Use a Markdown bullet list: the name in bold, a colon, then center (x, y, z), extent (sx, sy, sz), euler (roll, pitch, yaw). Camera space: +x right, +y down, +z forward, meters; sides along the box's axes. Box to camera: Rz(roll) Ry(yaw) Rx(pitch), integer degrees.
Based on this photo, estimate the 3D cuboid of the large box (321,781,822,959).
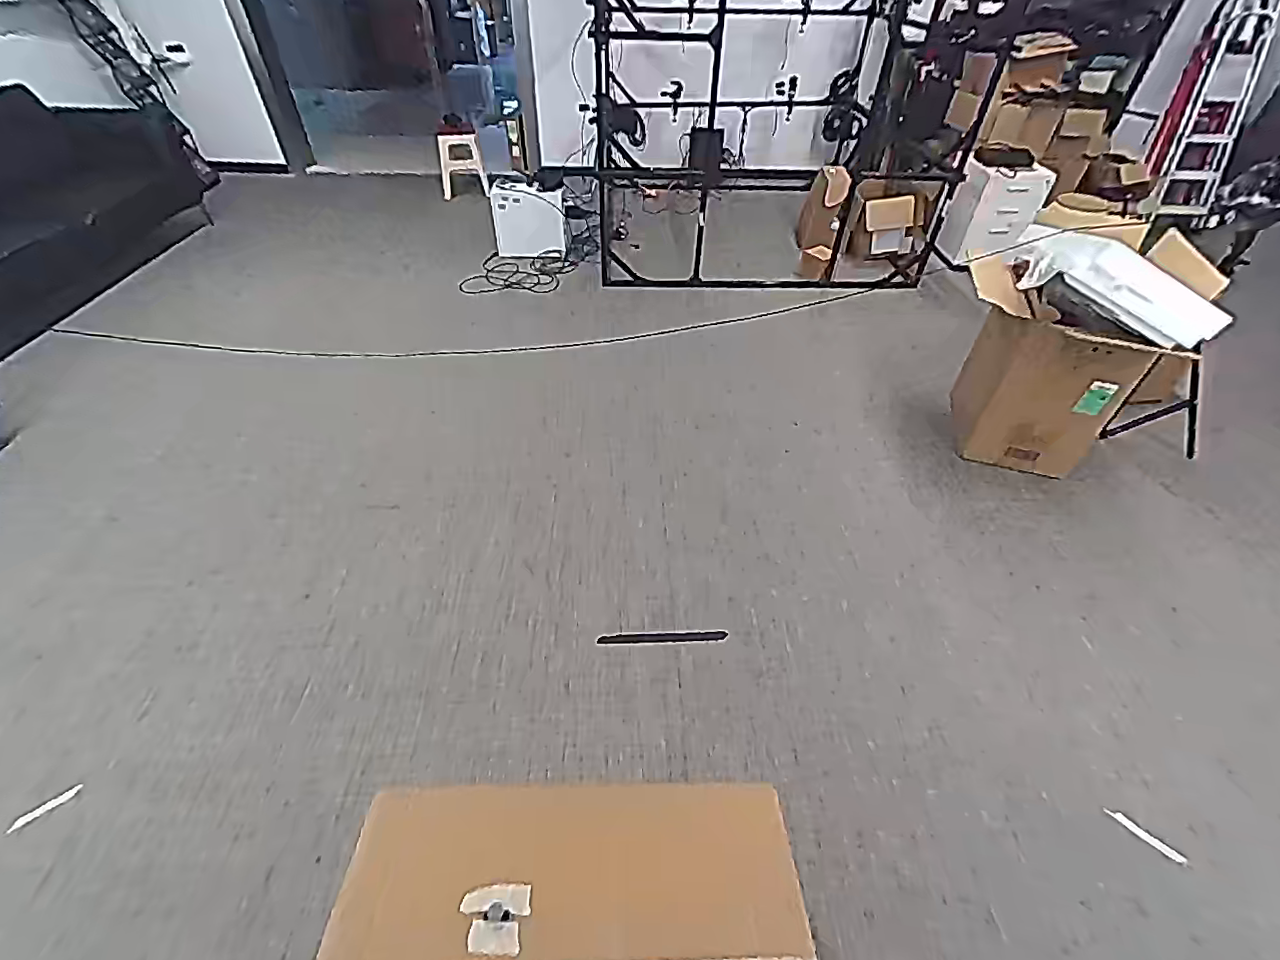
- **large box**: center (-0.055, 0.512, 0.496), extent (0.408, 0.320, 0.320), euler (1, 35, -3)
